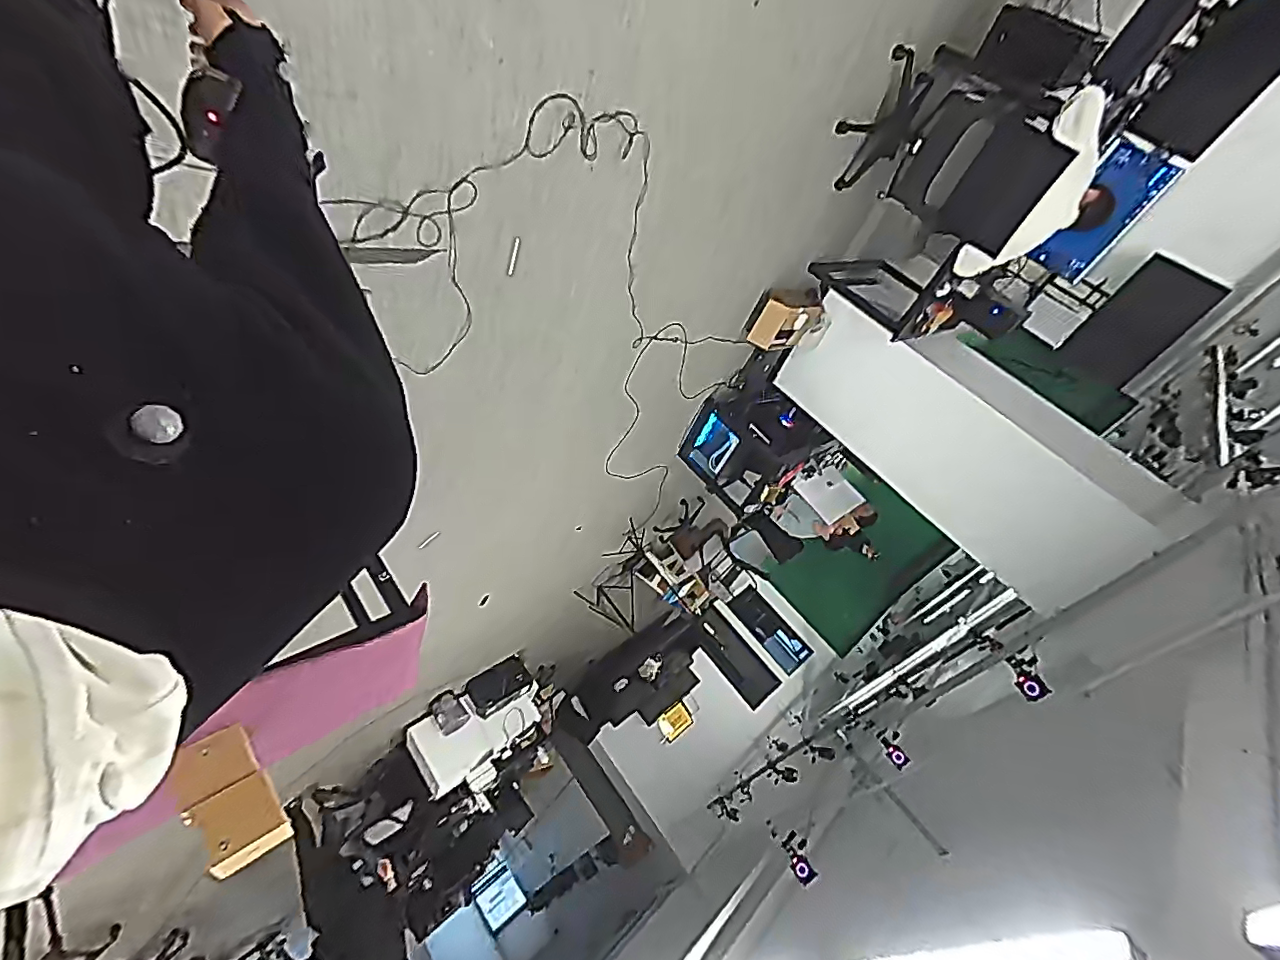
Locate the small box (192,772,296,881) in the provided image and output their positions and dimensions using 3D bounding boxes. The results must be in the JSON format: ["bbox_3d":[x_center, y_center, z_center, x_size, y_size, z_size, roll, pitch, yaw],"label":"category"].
[{"bbox_3d":[-1.073,0.937,1.472,0.179,0.176,0.168,-22,152,-39],"label":"small box"}]

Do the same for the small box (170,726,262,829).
[{"bbox_3d":[-1.191,0.836,1.527,0.179,0.176,0.168,-22,152,-38],"label":"small box"}]
